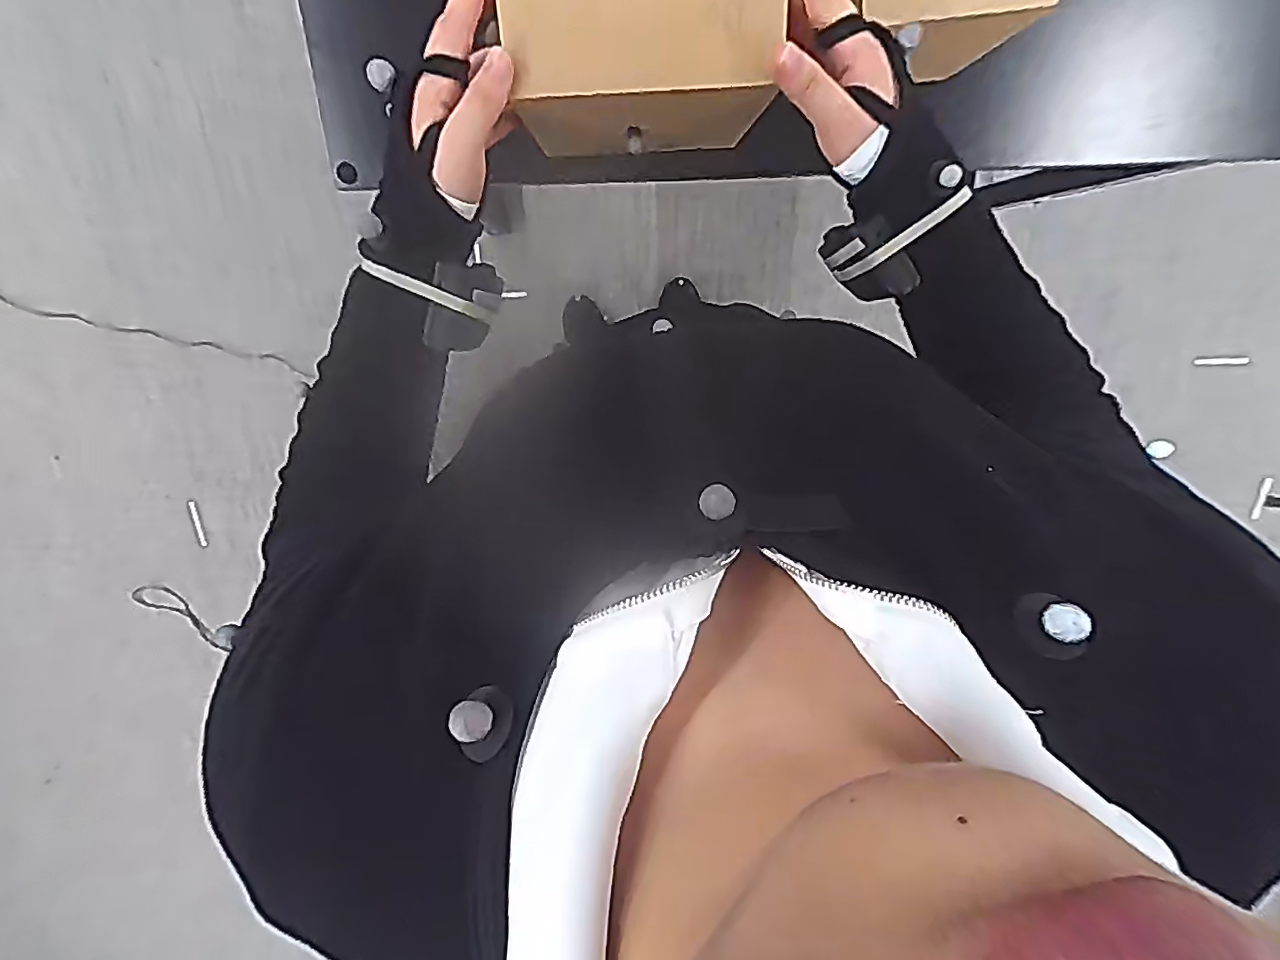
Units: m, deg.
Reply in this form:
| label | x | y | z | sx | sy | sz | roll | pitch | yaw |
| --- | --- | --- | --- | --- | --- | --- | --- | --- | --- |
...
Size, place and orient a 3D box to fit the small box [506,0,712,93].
| label | x | y | z | sx | sy | sz | roll | pitch | yaw |
| --- | --- | --- | --- | --- | --- | --- | --- | --- | --- |
| small box | -0.036 | -0.494 | 0.508 | 0.179 | 0.176 | 0.168 | -7 | 109 | 1 |

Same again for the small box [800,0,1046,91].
| label | x | y | z | sx | sy | sz | roll | pitch | yaw |
| --- | --- | --- | --- | --- | --- | --- | --- | --- | --- |
| small box | 0.259 | -0.503 | 0.518 | 0.179 | 0.176 | 0.168 | -7 | 109 | 1 |
